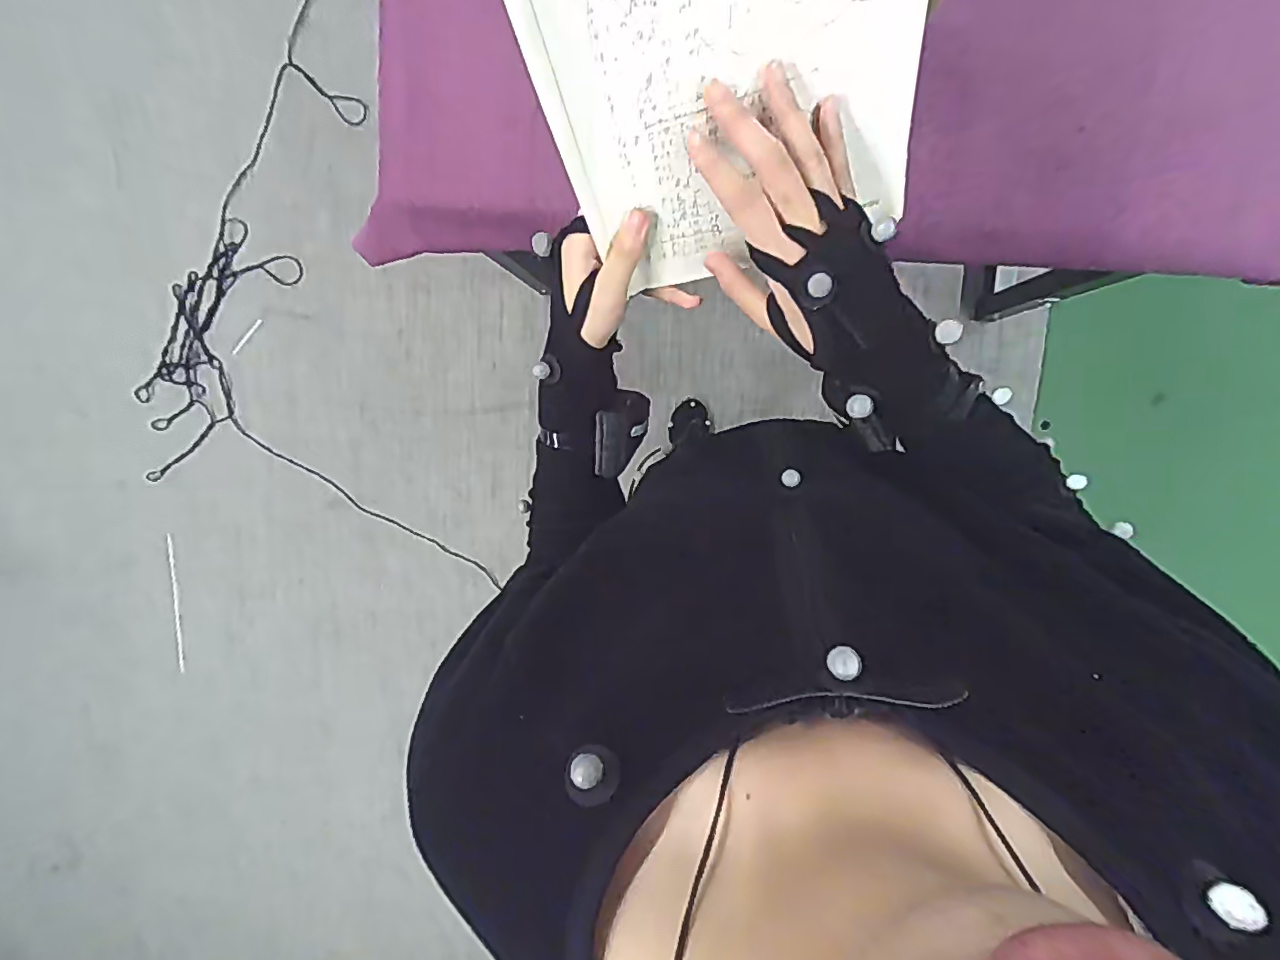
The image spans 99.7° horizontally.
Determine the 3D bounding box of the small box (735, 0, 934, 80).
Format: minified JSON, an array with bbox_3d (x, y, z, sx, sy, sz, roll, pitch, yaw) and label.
[{"bbox_3d":[0.173,-0.479,0.459,0.168,0.176,0.179,6,96,6],"label":"small box"}]
